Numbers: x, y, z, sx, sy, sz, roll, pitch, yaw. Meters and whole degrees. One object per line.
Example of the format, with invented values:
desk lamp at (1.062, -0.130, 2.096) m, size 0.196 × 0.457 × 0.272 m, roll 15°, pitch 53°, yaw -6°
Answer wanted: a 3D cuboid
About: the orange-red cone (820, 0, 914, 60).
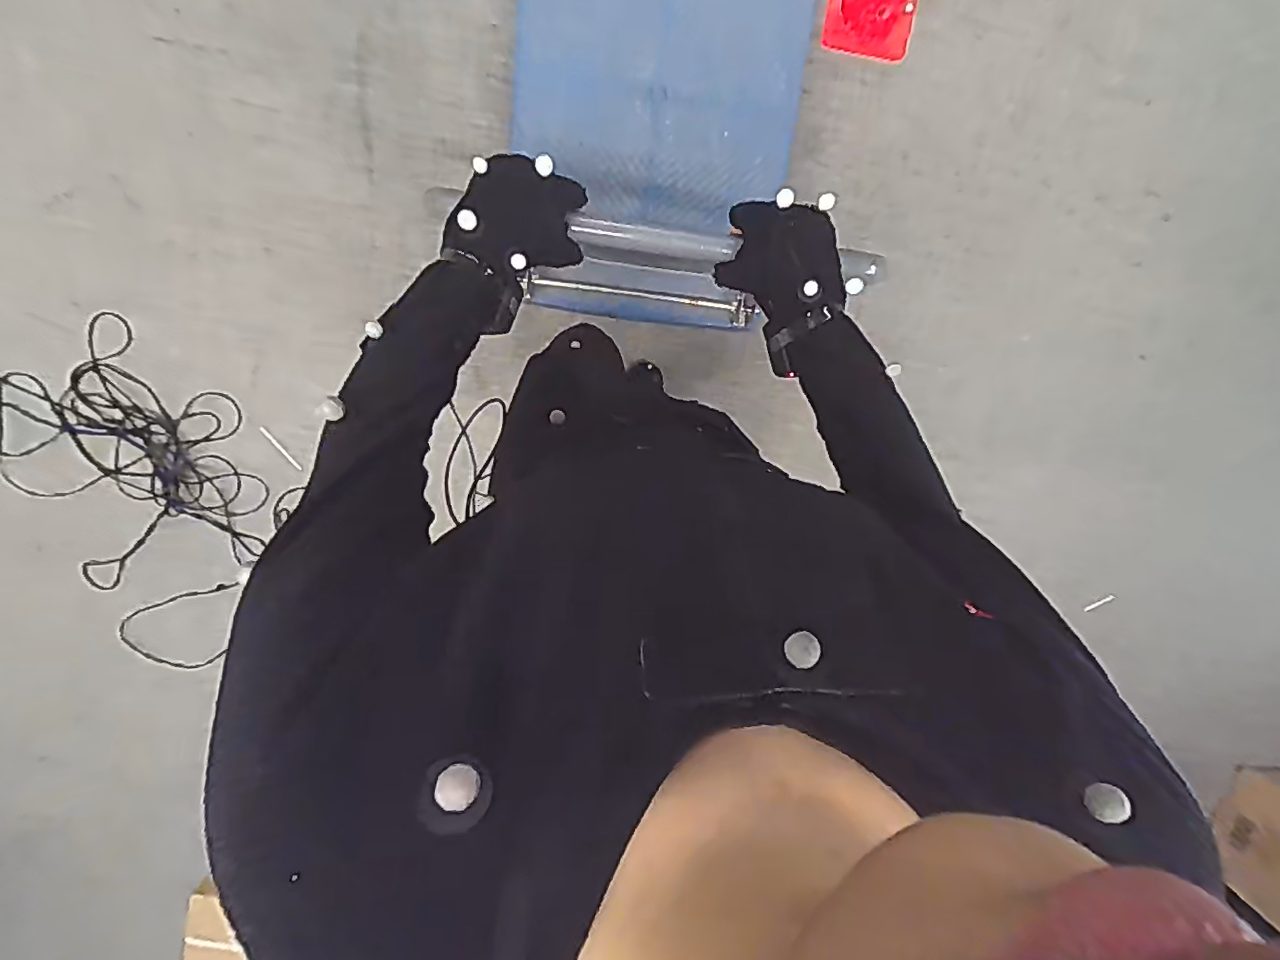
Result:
orange-red cone at (0.524, -1.032, 1.056) m, size 0.199 × 0.360 × 0.198 m, roll 9°, pitch 104°, yaw -3°
